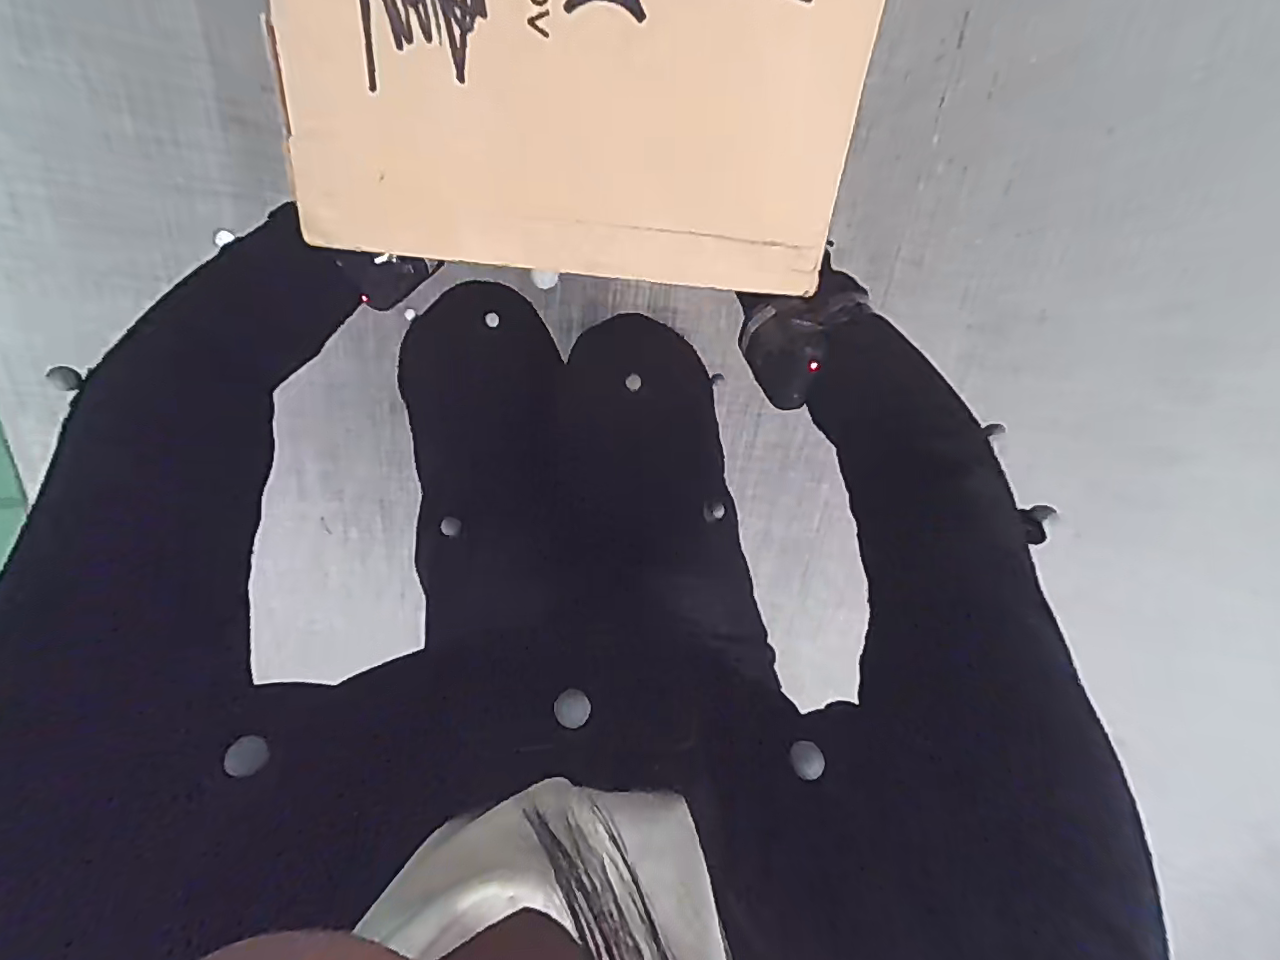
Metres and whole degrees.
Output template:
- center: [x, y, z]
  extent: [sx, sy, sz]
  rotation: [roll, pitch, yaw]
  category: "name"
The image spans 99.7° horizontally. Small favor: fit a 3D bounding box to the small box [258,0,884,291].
- center: [-0.018, -0.181, 0.214]
  extent: [0.179, 0.176, 0.168]
  rotation: [5, 118, -3]
  category: "small box"
